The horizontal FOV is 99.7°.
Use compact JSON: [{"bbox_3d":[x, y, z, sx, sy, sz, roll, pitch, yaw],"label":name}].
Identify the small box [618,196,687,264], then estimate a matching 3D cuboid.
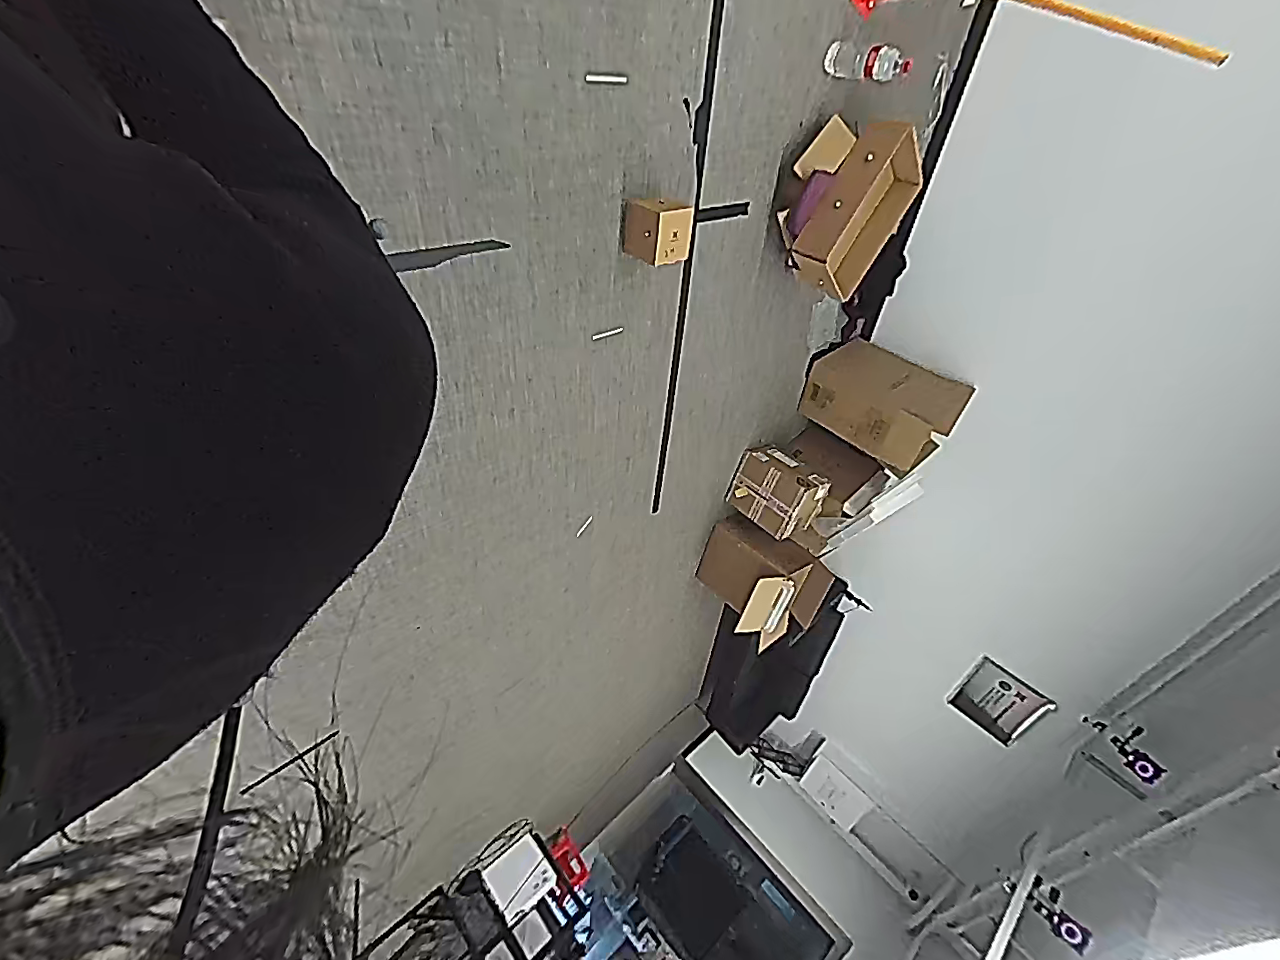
[{"bbox_3d":[0.040,-0.877,1.884,0.168,0.176,0.179,-27,141,-34],"label":"small box"}]
